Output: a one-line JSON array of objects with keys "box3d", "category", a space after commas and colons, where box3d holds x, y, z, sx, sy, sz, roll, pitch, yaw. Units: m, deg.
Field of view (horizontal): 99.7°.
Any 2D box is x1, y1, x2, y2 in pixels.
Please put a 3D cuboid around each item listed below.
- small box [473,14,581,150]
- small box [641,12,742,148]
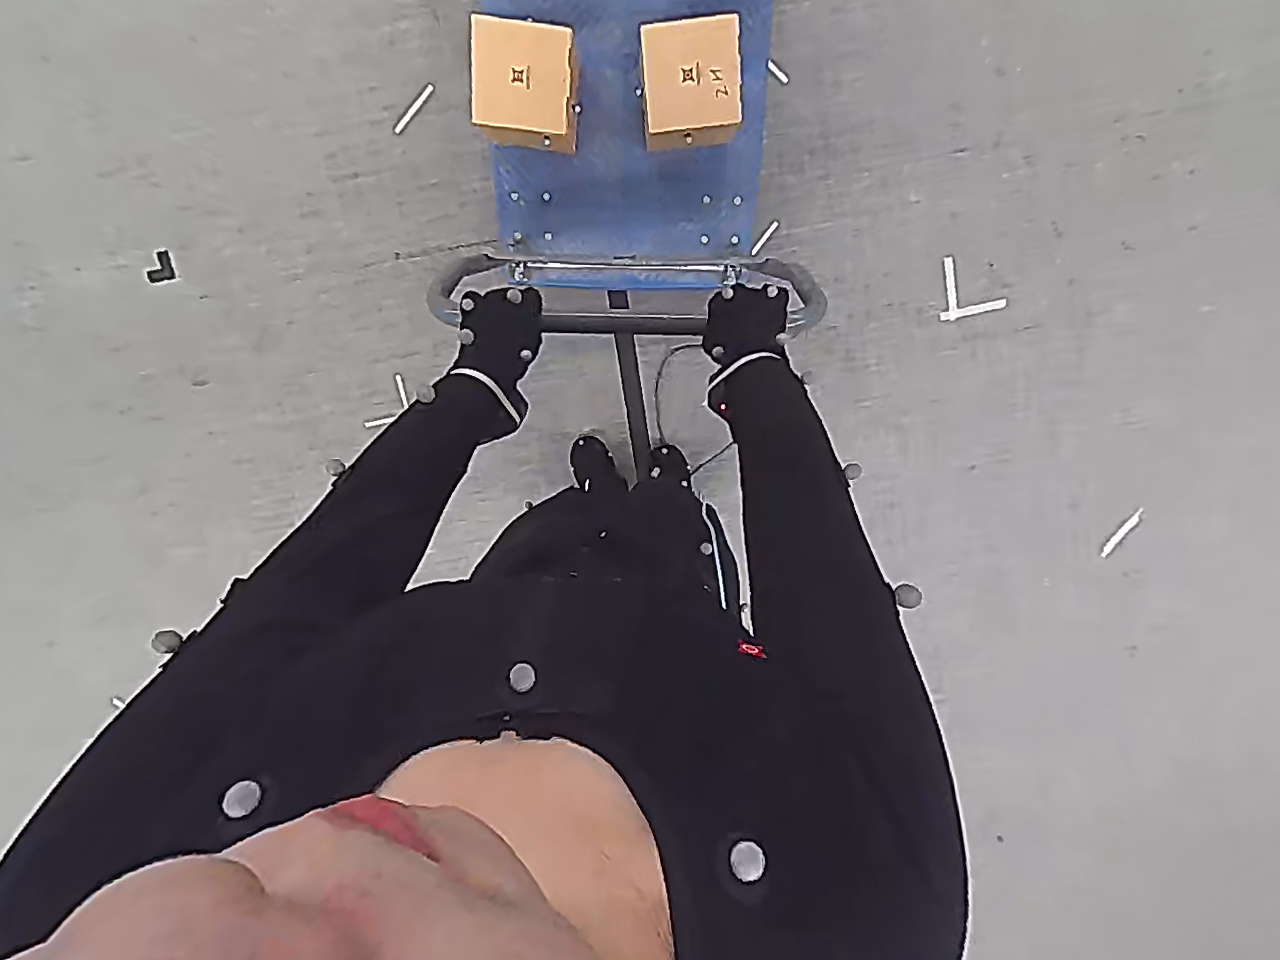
[{"box3d": [-0.212, -0.752, 1.041, 0.179, 0.176, 0.168, 4, 111, -4], "category": "small box"}, {"box3d": [0.096, -0.756, 1.041, 0.179, 0.176, 0.168, -5, 111, 2], "category": "small box"}]
